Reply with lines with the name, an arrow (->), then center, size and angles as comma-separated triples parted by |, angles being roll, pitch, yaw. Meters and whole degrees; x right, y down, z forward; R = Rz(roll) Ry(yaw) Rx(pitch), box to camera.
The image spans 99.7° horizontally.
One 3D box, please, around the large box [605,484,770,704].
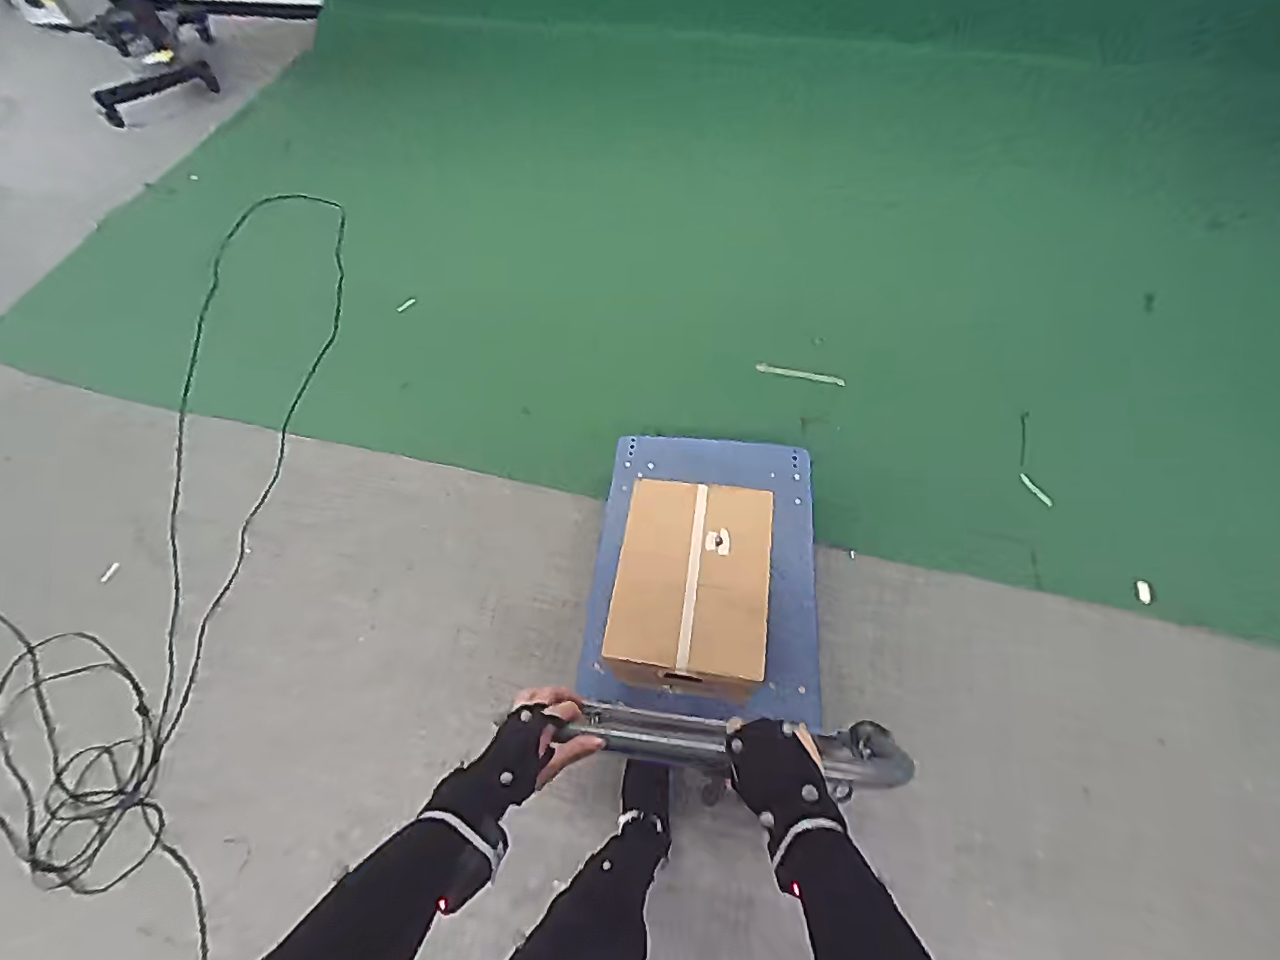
large box -> 0.121, 0.270, 1.252 | 0.320, 0.320, 0.408 | 7, 60, 8
